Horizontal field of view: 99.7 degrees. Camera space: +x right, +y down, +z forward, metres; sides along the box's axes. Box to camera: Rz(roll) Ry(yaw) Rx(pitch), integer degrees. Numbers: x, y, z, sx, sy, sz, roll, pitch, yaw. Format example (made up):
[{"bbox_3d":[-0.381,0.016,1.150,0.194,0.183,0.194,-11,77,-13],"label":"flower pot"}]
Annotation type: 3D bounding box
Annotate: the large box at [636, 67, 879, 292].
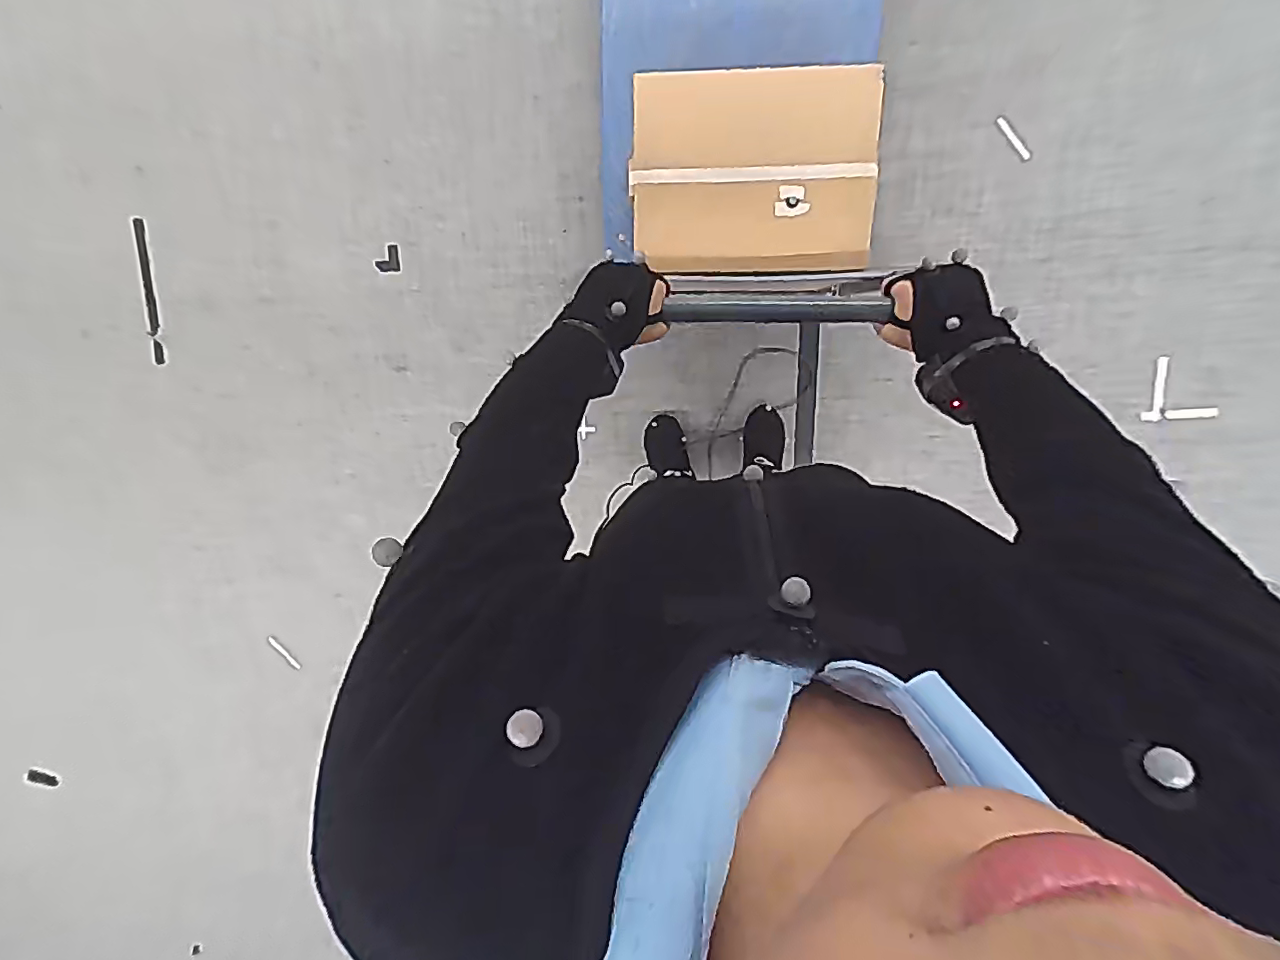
[{"bbox_3d":[0.203,-0.555,1.069,0.408,0.320,0.320,1,104,4],"label":"large box"}]
